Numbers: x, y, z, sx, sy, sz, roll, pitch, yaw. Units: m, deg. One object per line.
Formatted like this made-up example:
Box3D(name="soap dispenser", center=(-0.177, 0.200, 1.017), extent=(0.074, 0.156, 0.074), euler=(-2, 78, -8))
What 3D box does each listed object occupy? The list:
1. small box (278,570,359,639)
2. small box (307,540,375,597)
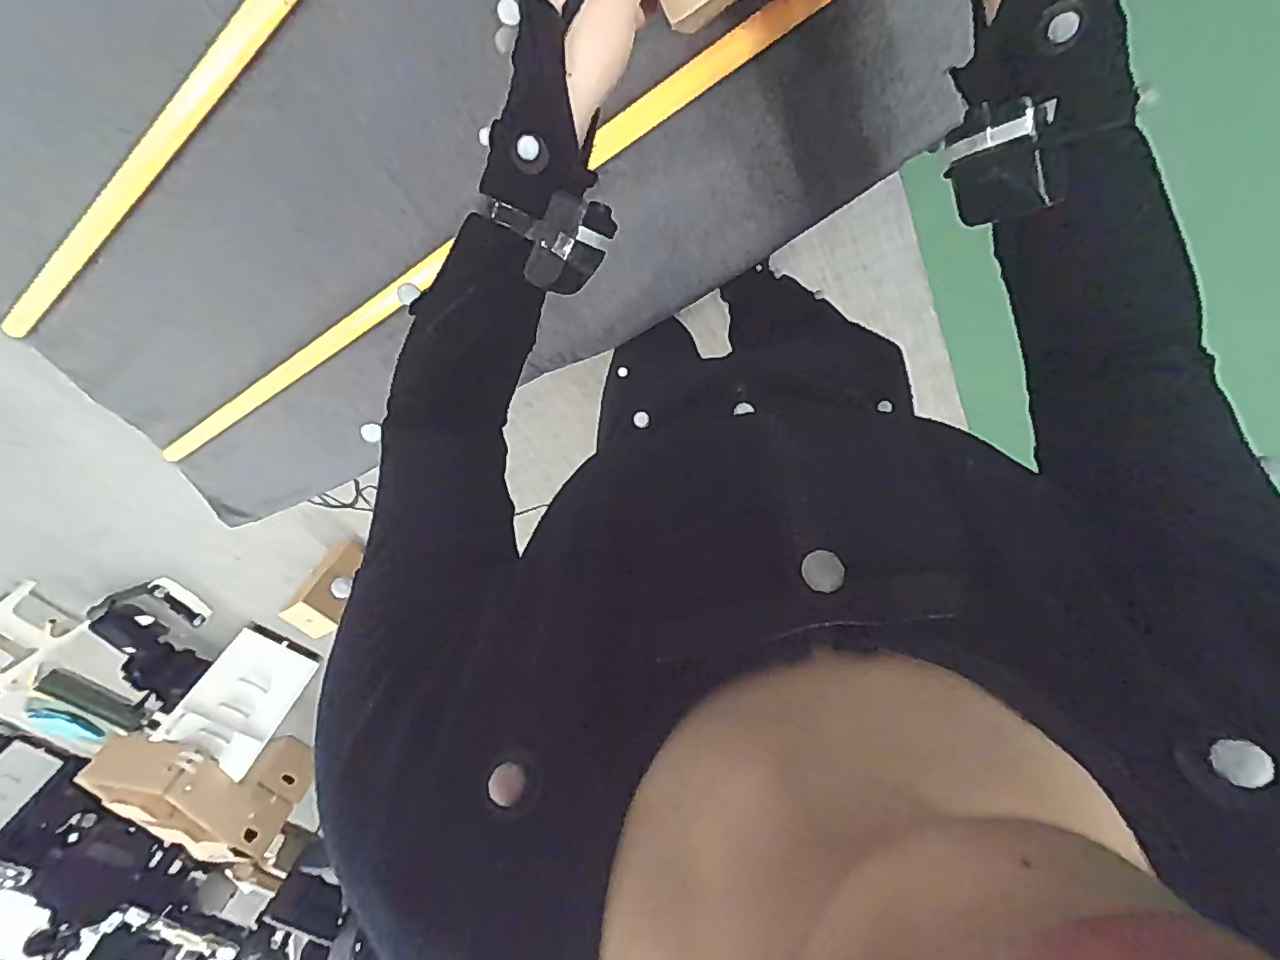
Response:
Box3D(name="small box", center=(-1.195, 0.464, 2.027), extent=(0.179, 0.176, 0.168), euler=(-25, 120, 28))
Box3D(name="small box", center=(-1.175, 0.366, 2.158), extent=(0.179, 0.176, 0.168), euler=(-24, 121, 27))
